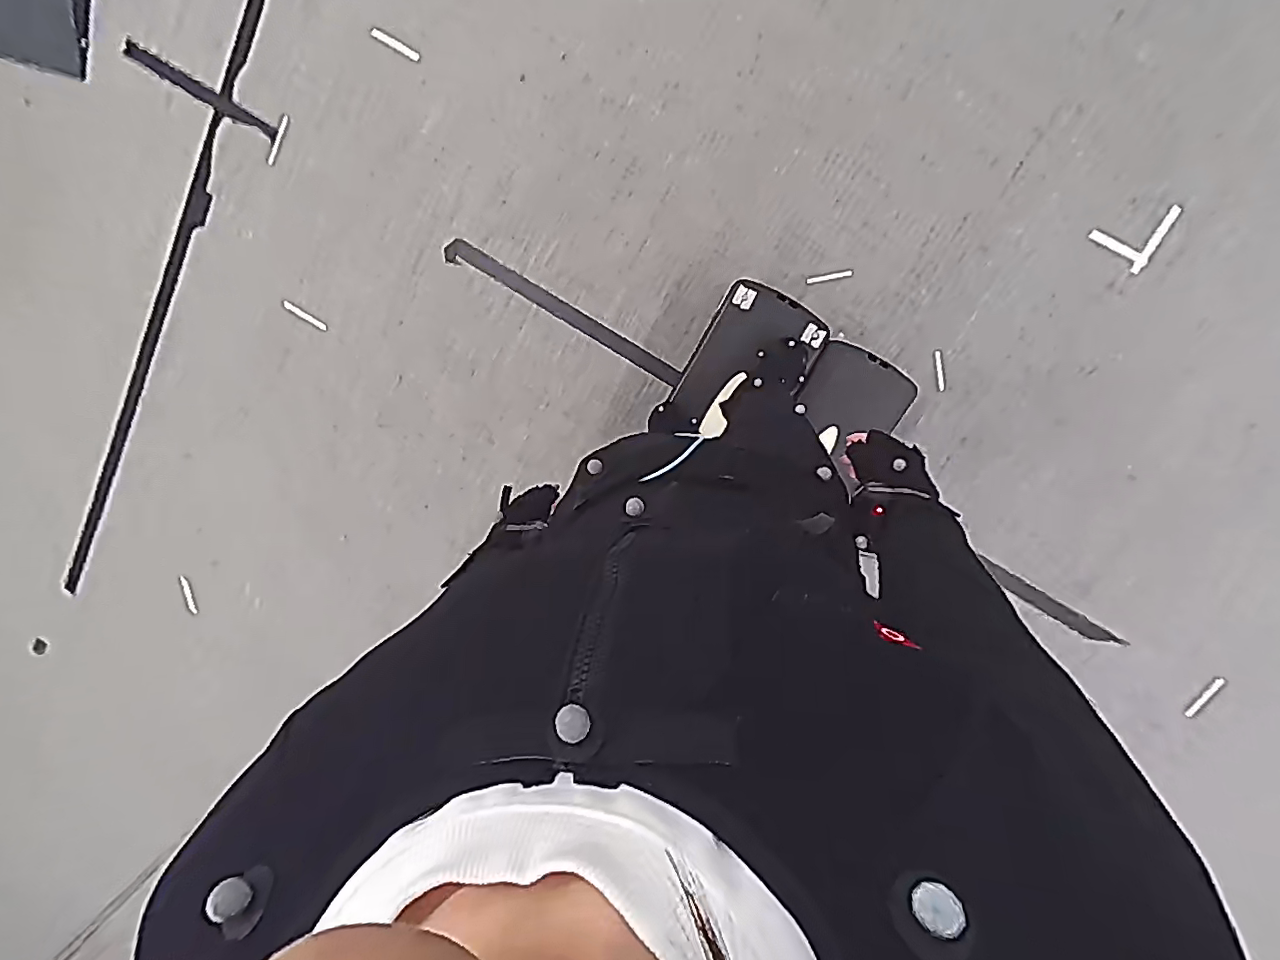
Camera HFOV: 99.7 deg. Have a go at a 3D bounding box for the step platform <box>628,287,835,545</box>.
[{"bbox_3d":[0.236,-0.165,1.482,0.286,0.204,0.684,29,101,1],"label":"step platform"}]
